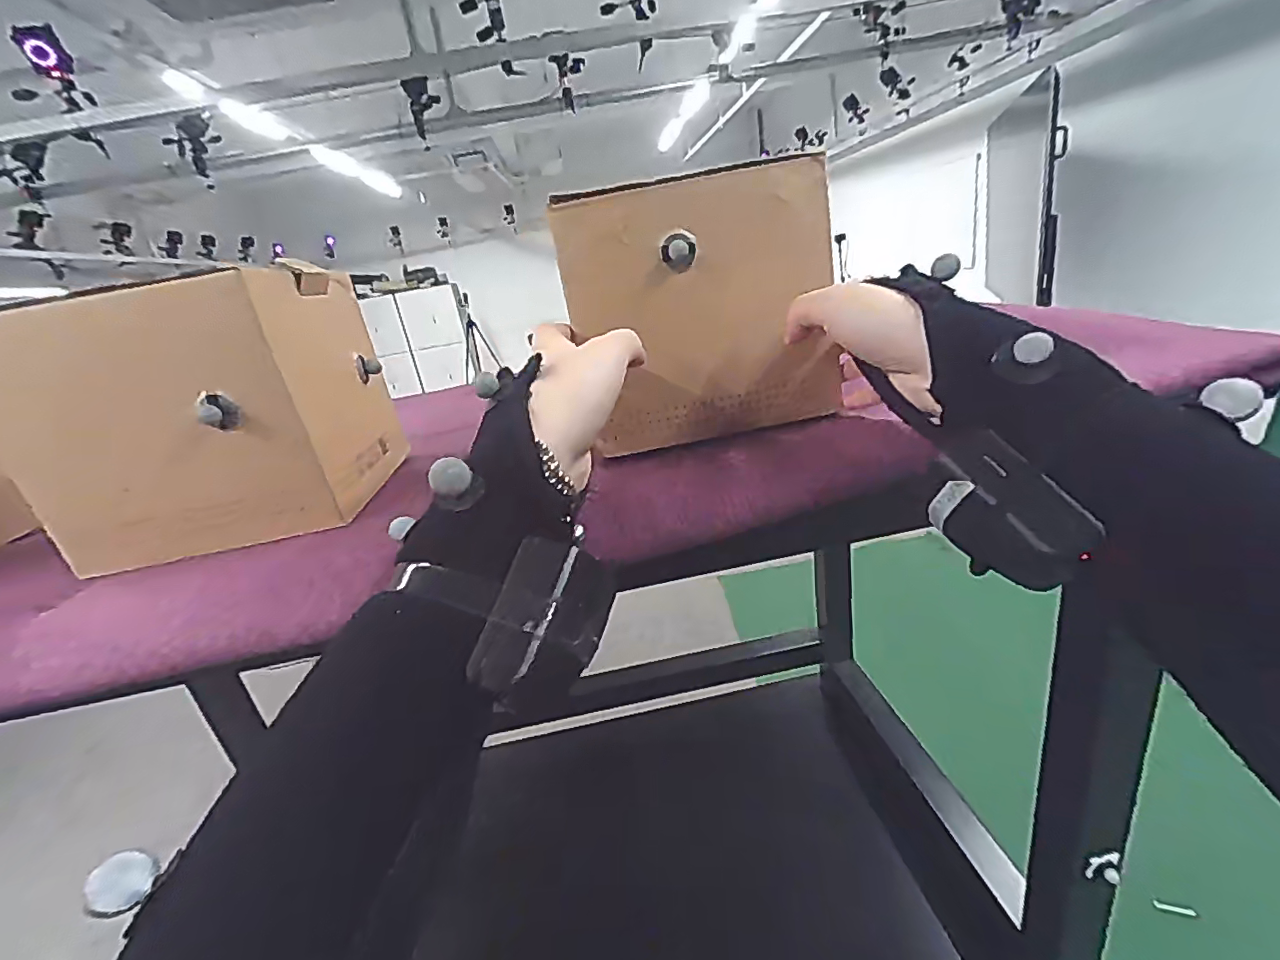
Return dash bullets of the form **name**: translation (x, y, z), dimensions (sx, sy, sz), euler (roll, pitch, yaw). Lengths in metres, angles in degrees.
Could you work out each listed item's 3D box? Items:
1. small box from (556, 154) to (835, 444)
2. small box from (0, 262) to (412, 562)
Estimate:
- **small box**: translation (0.041, -0.133, 0.437), dimensions (0.179, 0.176, 0.168), euler (-10, 17, -1)
- **small box**: translation (-0.297, -0.059, 0.410), dimensions (0.179, 0.176, 0.168), euler (-12, 20, -4)
